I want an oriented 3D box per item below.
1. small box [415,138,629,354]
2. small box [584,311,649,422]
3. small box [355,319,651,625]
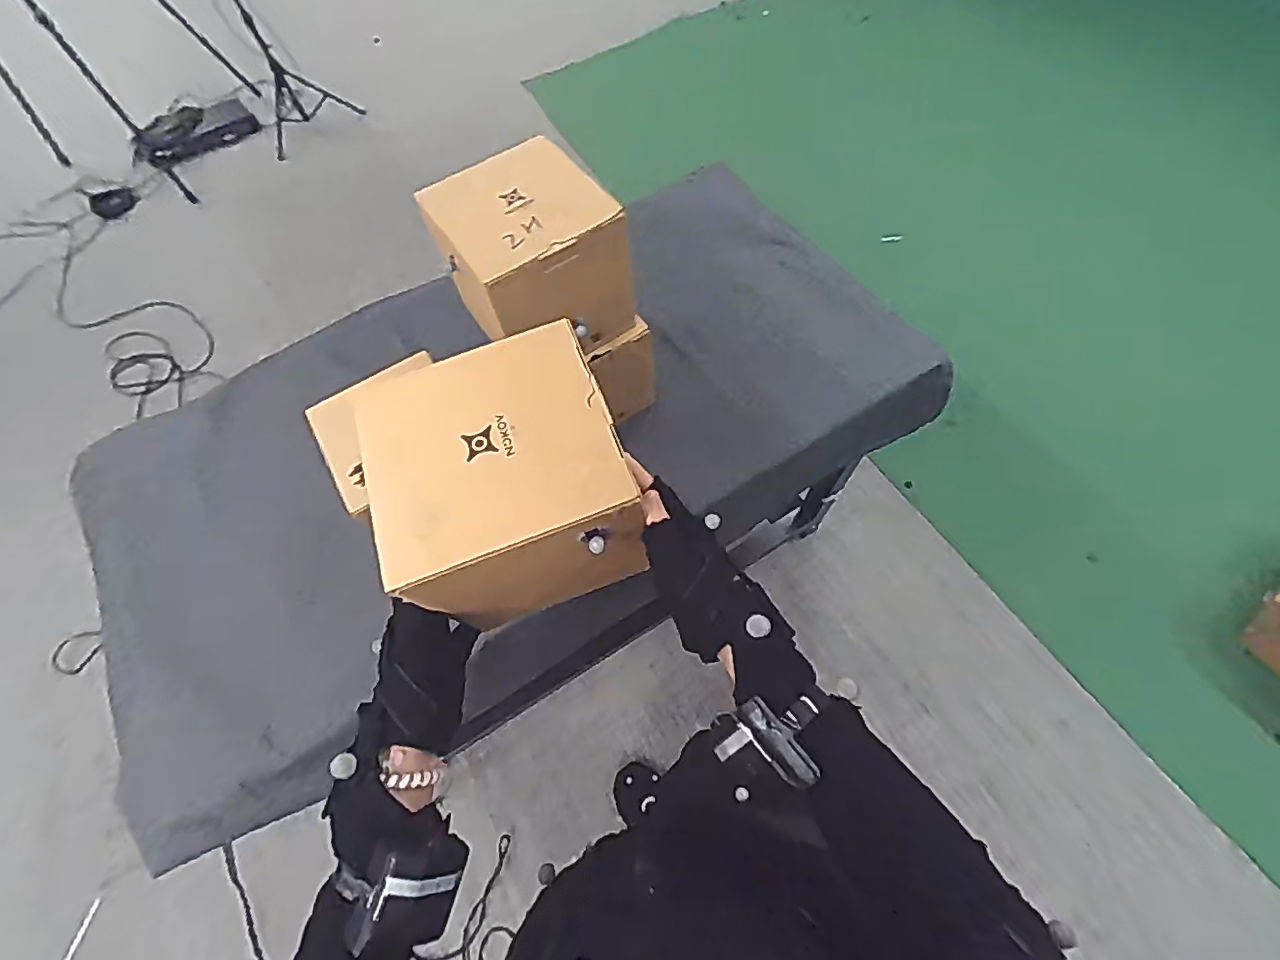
[{"bbox_3d":[-0.129,-0.254,0.643,0.168,0.176,0.179,-33,67,-11],"label":"small box"},{"bbox_3d":[-0.099,-0.177,0.786,0.168,0.176,0.179,-32,65,-11],"label":"small box"},{"bbox_3d":[-0.101,0.006,0.451,0.179,0.176,0.168,-20,65,-5],"label":"small box"}]
